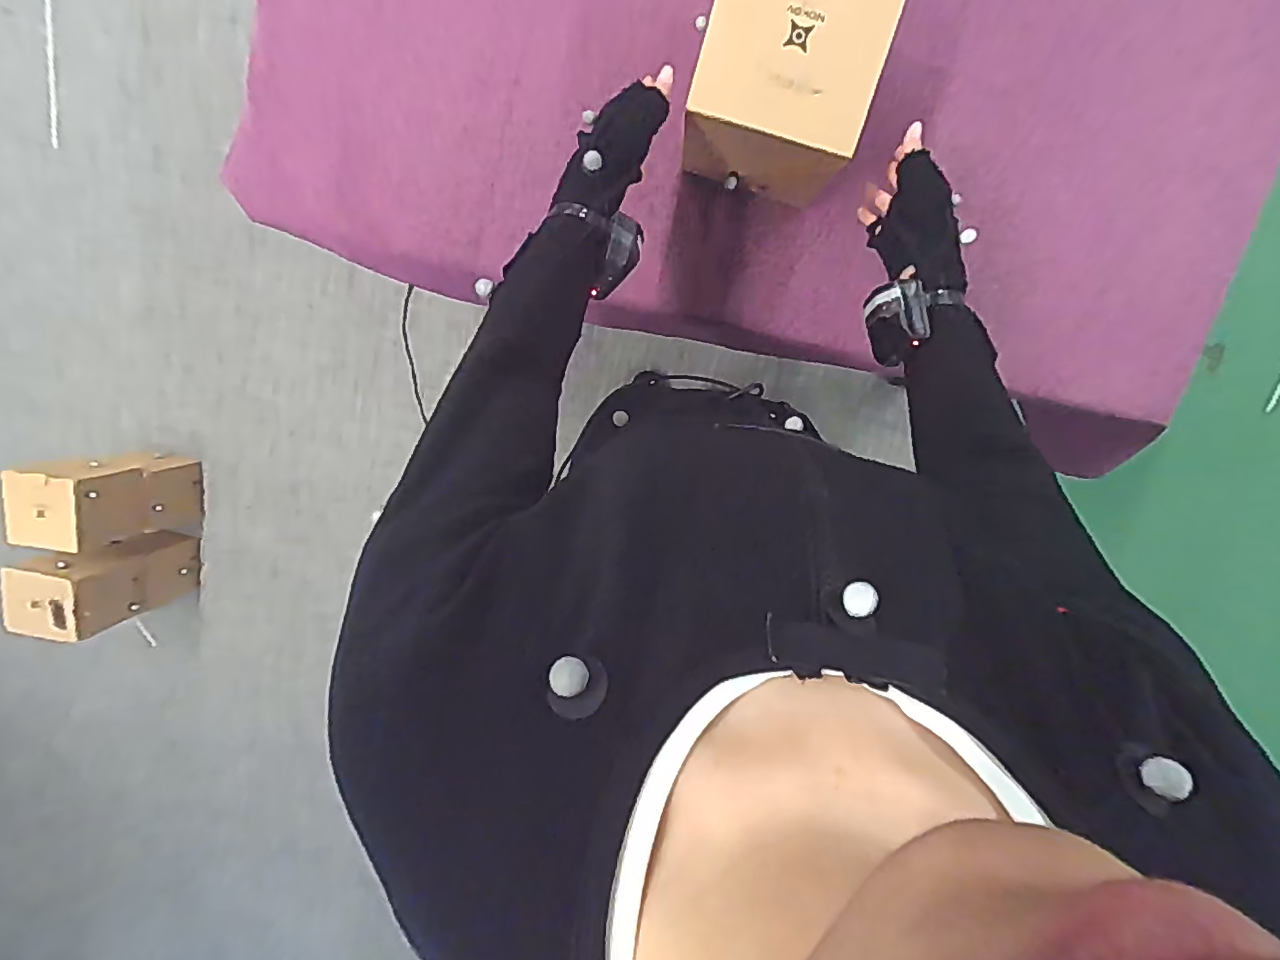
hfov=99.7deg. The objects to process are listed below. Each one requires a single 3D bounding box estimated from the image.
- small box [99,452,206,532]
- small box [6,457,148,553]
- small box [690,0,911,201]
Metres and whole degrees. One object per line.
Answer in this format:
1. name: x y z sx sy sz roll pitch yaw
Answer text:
1. small box: -1.318 0.026 1.449 0.179 0.176 0.168 9 103 1
2. small box: -1.327 0.054 1.288 0.168 0.176 0.179 8 102 0
3. small box: 0.152 -0.422 0.563 0.168 0.176 0.179 16 104 0
